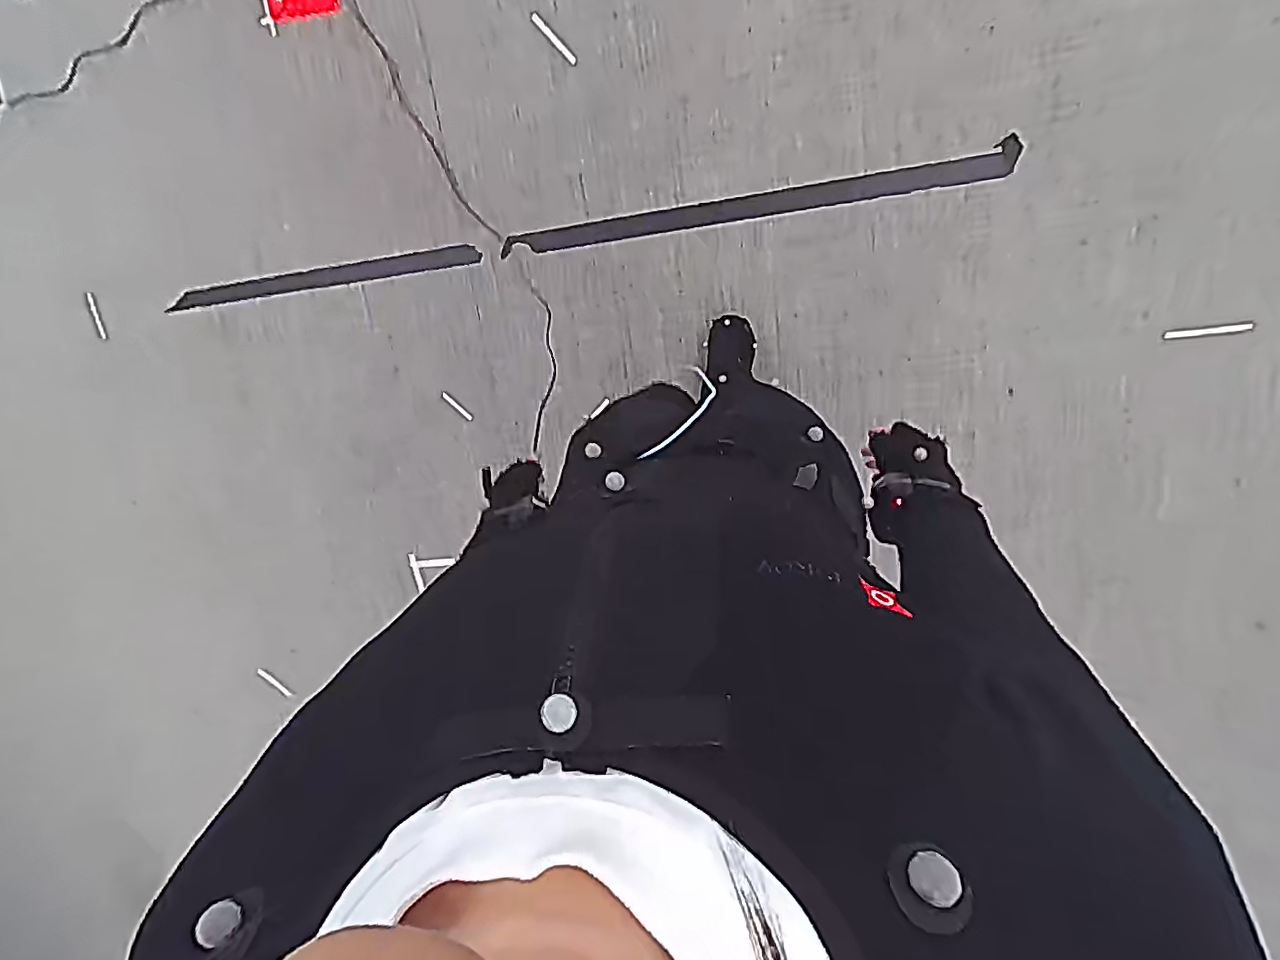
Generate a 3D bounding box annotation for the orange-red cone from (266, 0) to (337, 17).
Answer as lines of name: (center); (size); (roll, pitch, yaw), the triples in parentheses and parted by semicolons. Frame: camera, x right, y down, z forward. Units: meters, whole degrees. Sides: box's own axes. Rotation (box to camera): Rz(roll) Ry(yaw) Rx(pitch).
orange-red cone: (-0.846, -1.173, 1.118); (0.199, 0.360, 0.198); (3, 107, 10)
